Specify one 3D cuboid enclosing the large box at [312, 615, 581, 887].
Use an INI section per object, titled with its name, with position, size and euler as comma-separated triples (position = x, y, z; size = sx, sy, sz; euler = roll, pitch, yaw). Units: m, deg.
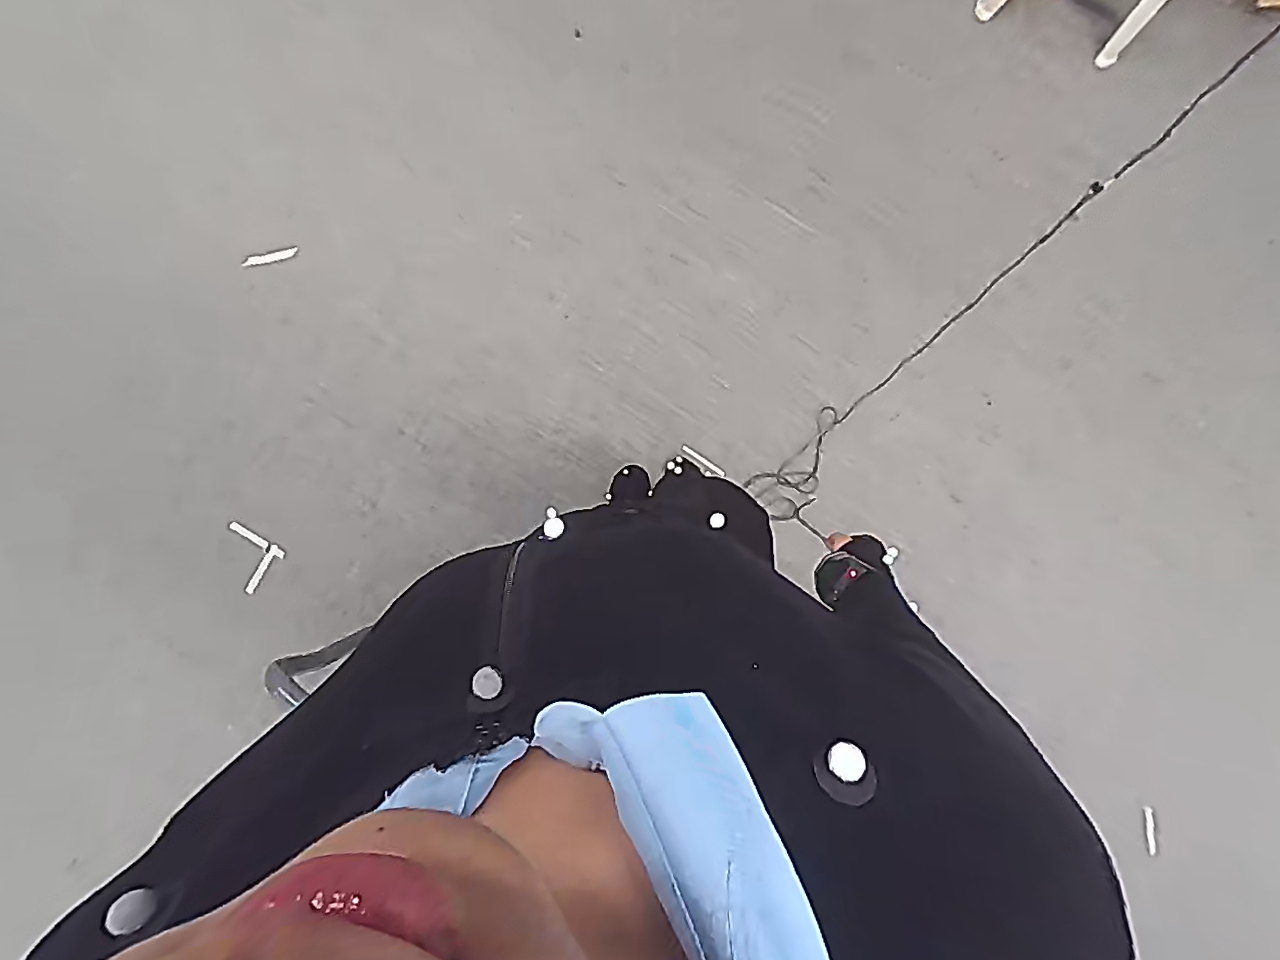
[large box]
position = -0.396, 0.567, 1.205
size = 0.408, 0.320, 0.320
euler = 33, 92, 2
